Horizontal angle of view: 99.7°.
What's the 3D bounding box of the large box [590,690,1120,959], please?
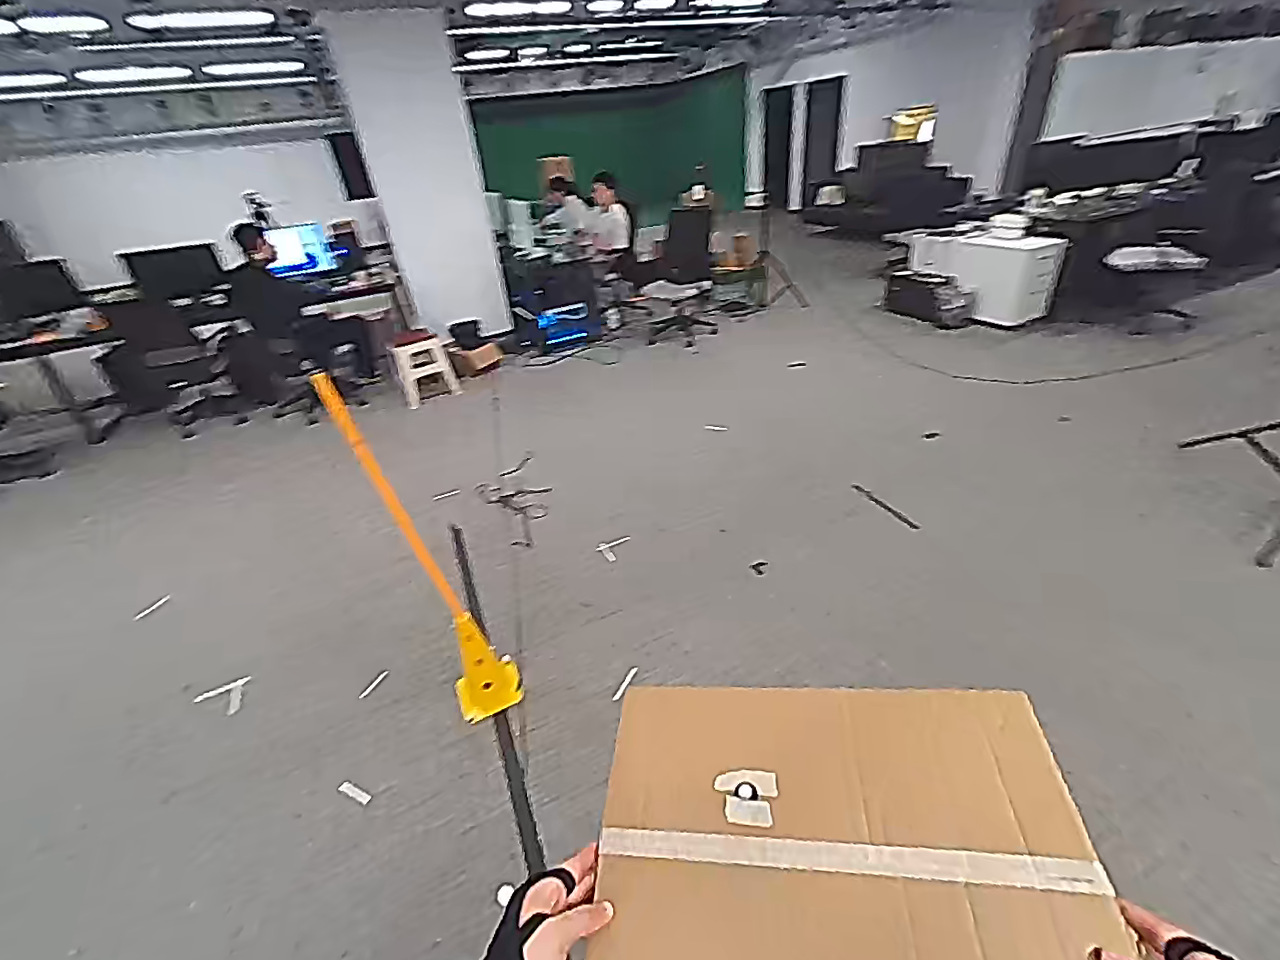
[{"bbox_3d":[0.192,0.444,0.559,0.408,0.320,0.320,-6,38,13],"label":"large box"}]
